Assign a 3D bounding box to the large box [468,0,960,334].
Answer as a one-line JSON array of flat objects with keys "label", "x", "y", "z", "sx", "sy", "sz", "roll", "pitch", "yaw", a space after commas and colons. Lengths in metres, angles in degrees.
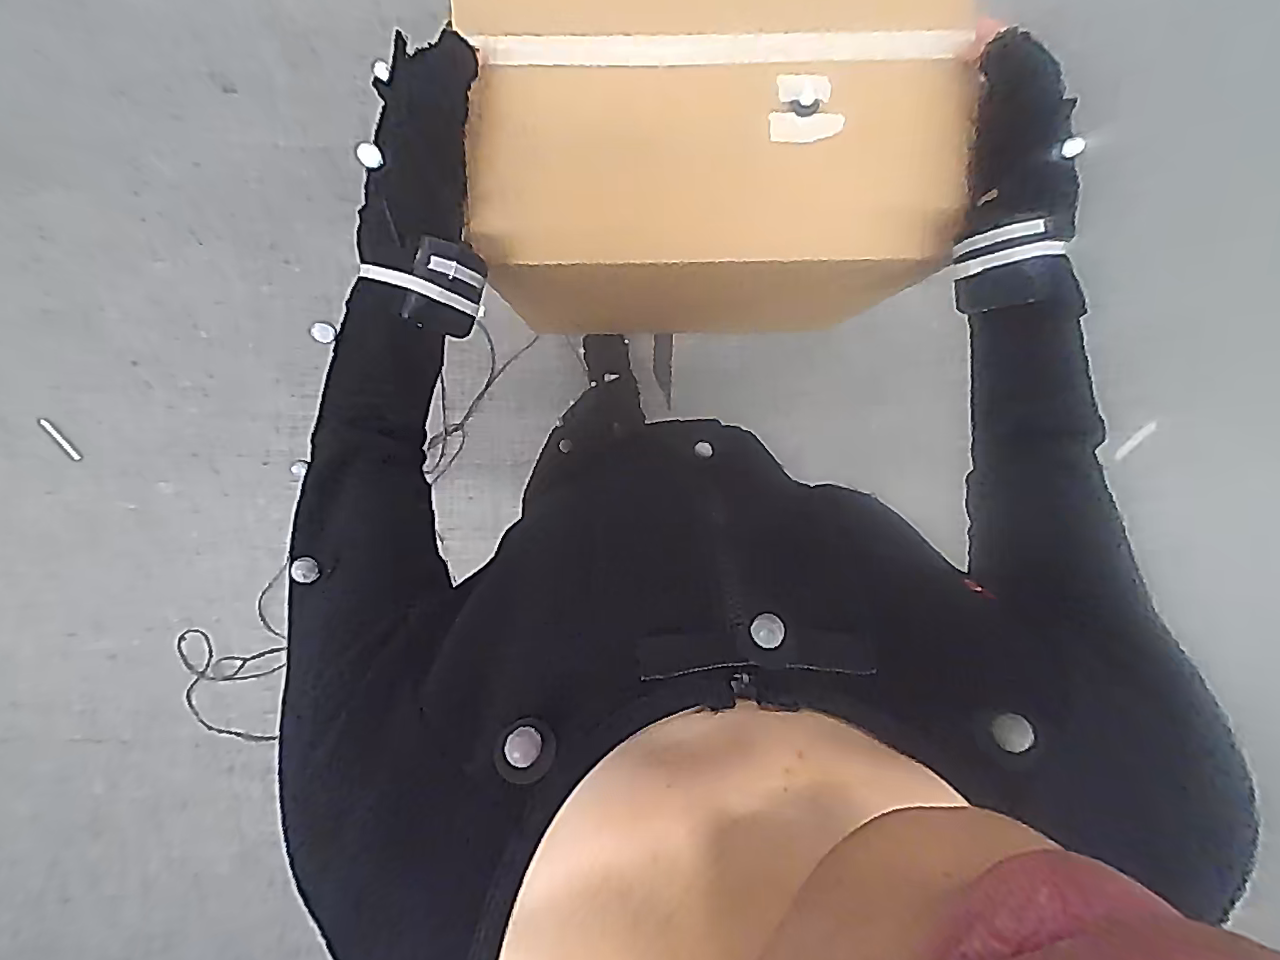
[{"label": "large box", "x": 0.057, "y": -0.350, "z": 0.586, "sx": 0.408, "sy": 0.320, "sz": 0.320, "roll": -1, "pitch": 95, "yaw": -1}]
